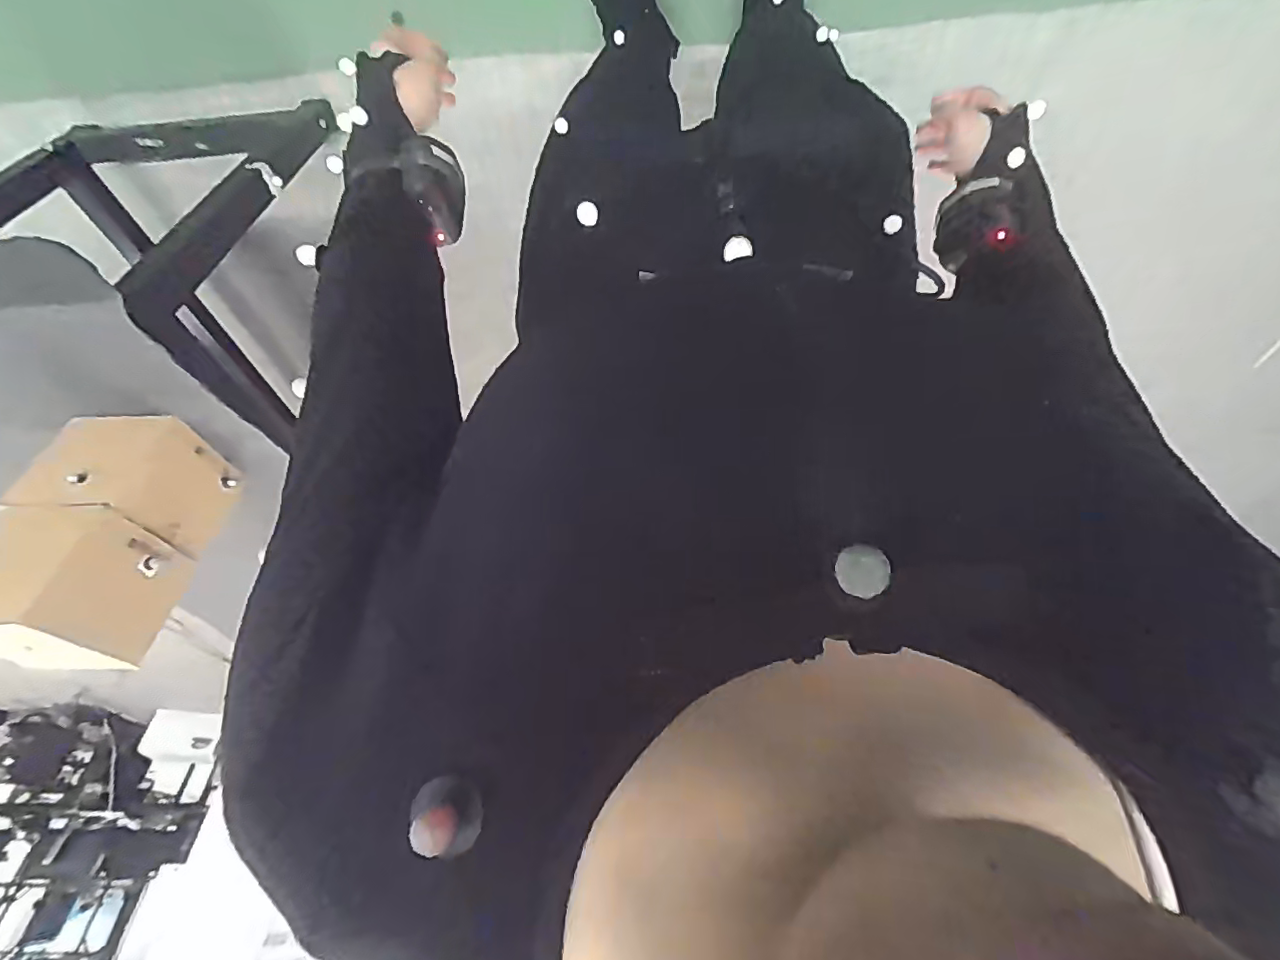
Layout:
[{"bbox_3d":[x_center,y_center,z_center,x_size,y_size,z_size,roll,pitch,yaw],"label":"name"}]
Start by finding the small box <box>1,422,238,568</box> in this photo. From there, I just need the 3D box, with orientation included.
[{"bbox_3d":[-0.767,0.024,0.830,0.179,0.176,0.168,0,143,5],"label":"small box"}]

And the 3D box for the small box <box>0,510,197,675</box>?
[{"bbox_3d":[-0.768,0.153,0.732,0.179,0.176,0.168,-4,144,7],"label":"small box"}]
